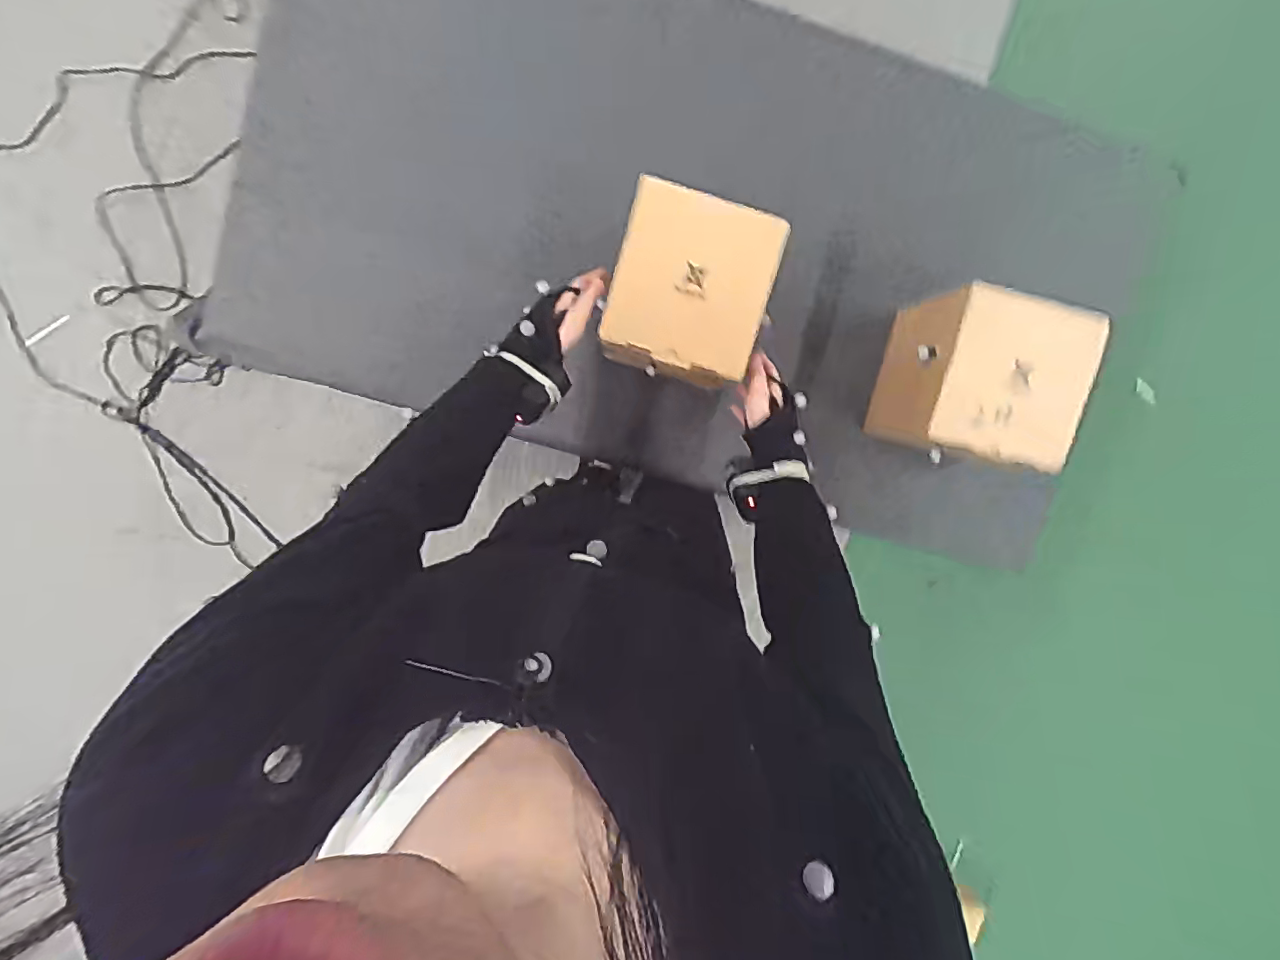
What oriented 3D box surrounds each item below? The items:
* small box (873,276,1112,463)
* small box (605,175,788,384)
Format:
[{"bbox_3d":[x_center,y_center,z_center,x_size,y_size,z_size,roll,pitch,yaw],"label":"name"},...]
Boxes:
[{"bbox_3d":[0.422,-0.130,0.681,0.168,0.176,0.179,14,97,-2],"label":"small box"},{"bbox_3d":[0.054,-0.226,0.662,0.168,0.176,0.179,16,96,-6],"label":"small box"}]
